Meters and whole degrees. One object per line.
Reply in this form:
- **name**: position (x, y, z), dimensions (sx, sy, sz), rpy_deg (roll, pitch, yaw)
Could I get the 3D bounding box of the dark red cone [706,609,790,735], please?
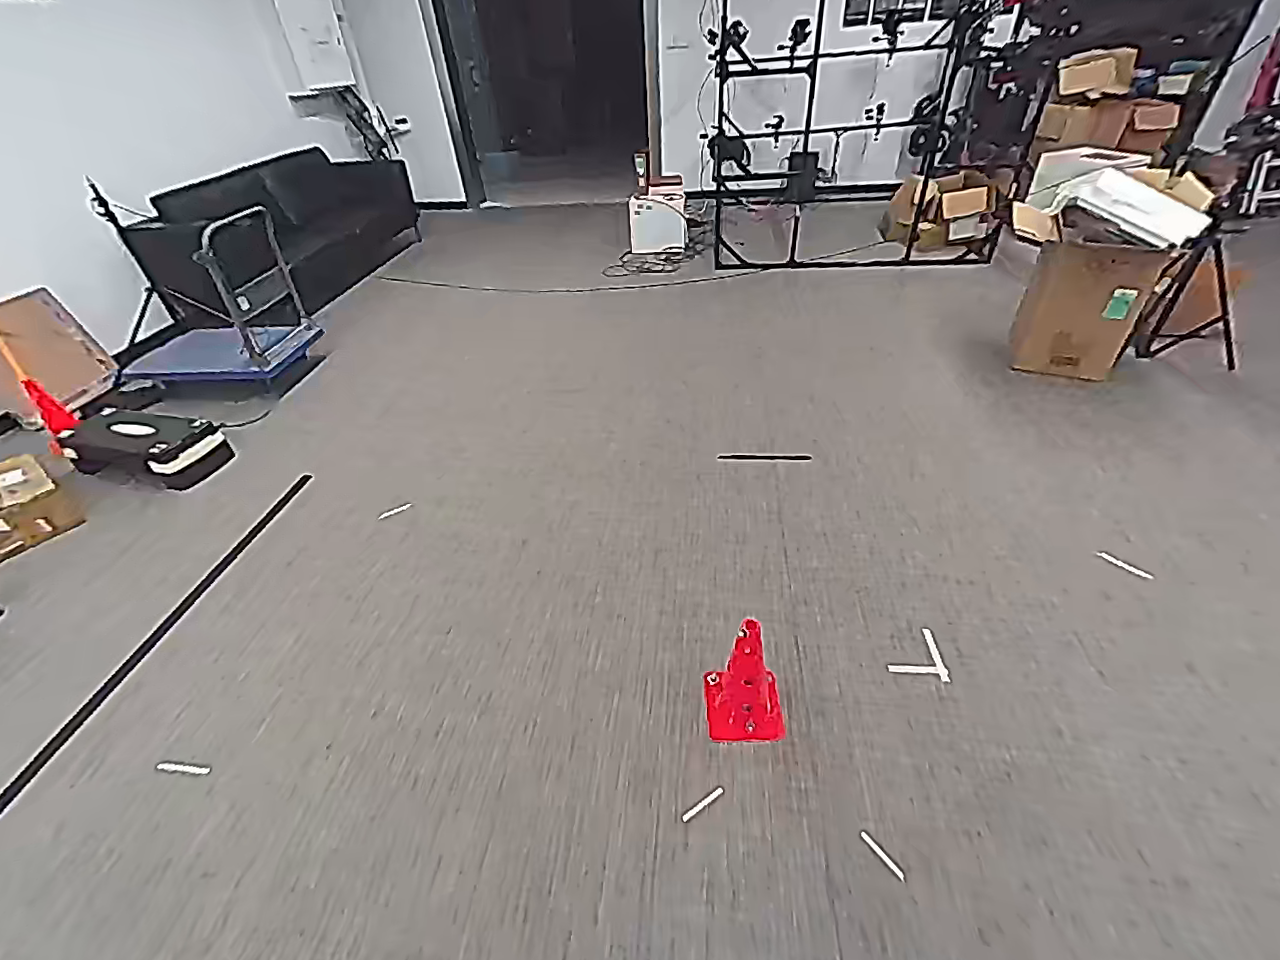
- **dark red cone**: position (0.269, 0.447, 1.320), dimensions (0.202, 0.394, 0.201), rpy_deg (-3, 40, 2)
